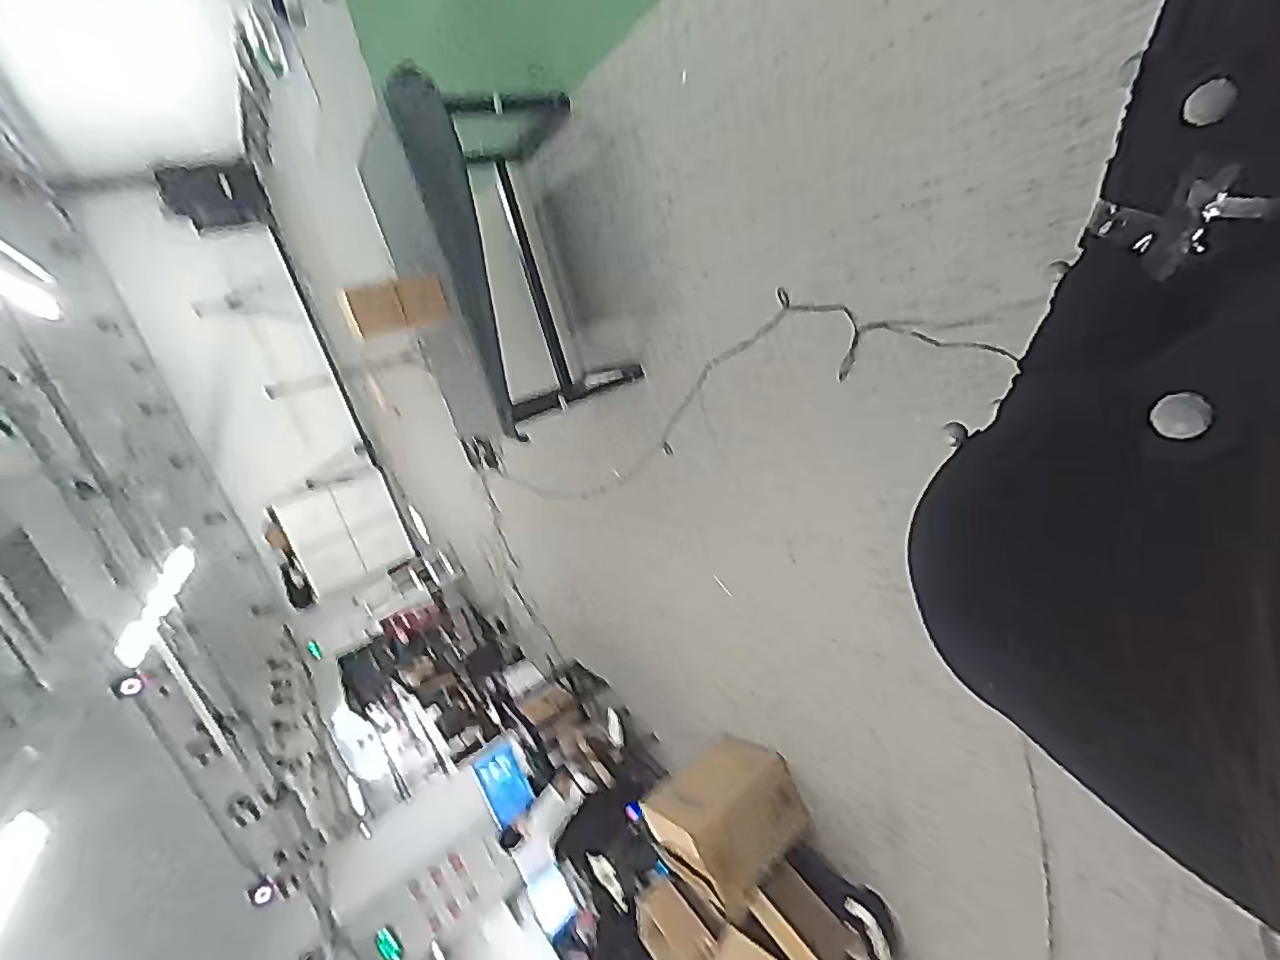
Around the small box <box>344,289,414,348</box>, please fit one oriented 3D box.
[{"bbox_3d":[-0.961,-0.599,1.995,0.168,0.176,0.179,12,121,54],"label":"small box"}]

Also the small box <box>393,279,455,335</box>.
[{"bbox_3d":[-0.837,-0.663,2.080,0.168,0.176,0.179,4,114,56],"label":"small box"}]
